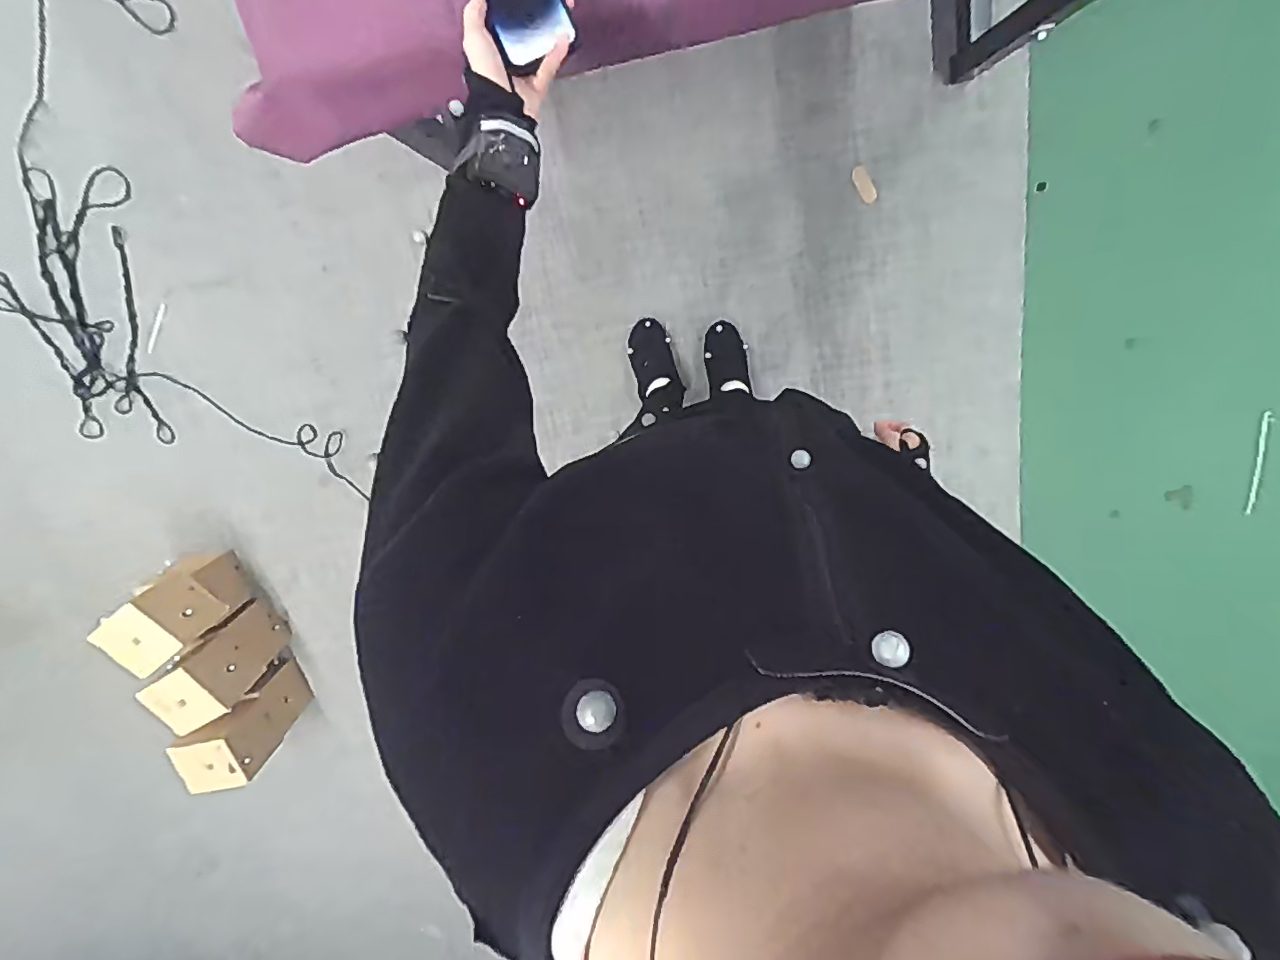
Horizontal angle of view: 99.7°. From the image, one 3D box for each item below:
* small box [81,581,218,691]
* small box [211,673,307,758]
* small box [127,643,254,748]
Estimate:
[{"bbox_3d":[-1.250,0.395,1.397,0.179,0.176,0.168,-36,105,12],"label":"small box"},{"bbox_3d":[-1.186,0.722,1.681,0.168,0.176,0.179,-12,109,4],"label":"small box"},{"bbox_3d":[-1.195,0.575,1.460,0.179,0.176,0.168,-28,106,9],"label":"small box"}]
